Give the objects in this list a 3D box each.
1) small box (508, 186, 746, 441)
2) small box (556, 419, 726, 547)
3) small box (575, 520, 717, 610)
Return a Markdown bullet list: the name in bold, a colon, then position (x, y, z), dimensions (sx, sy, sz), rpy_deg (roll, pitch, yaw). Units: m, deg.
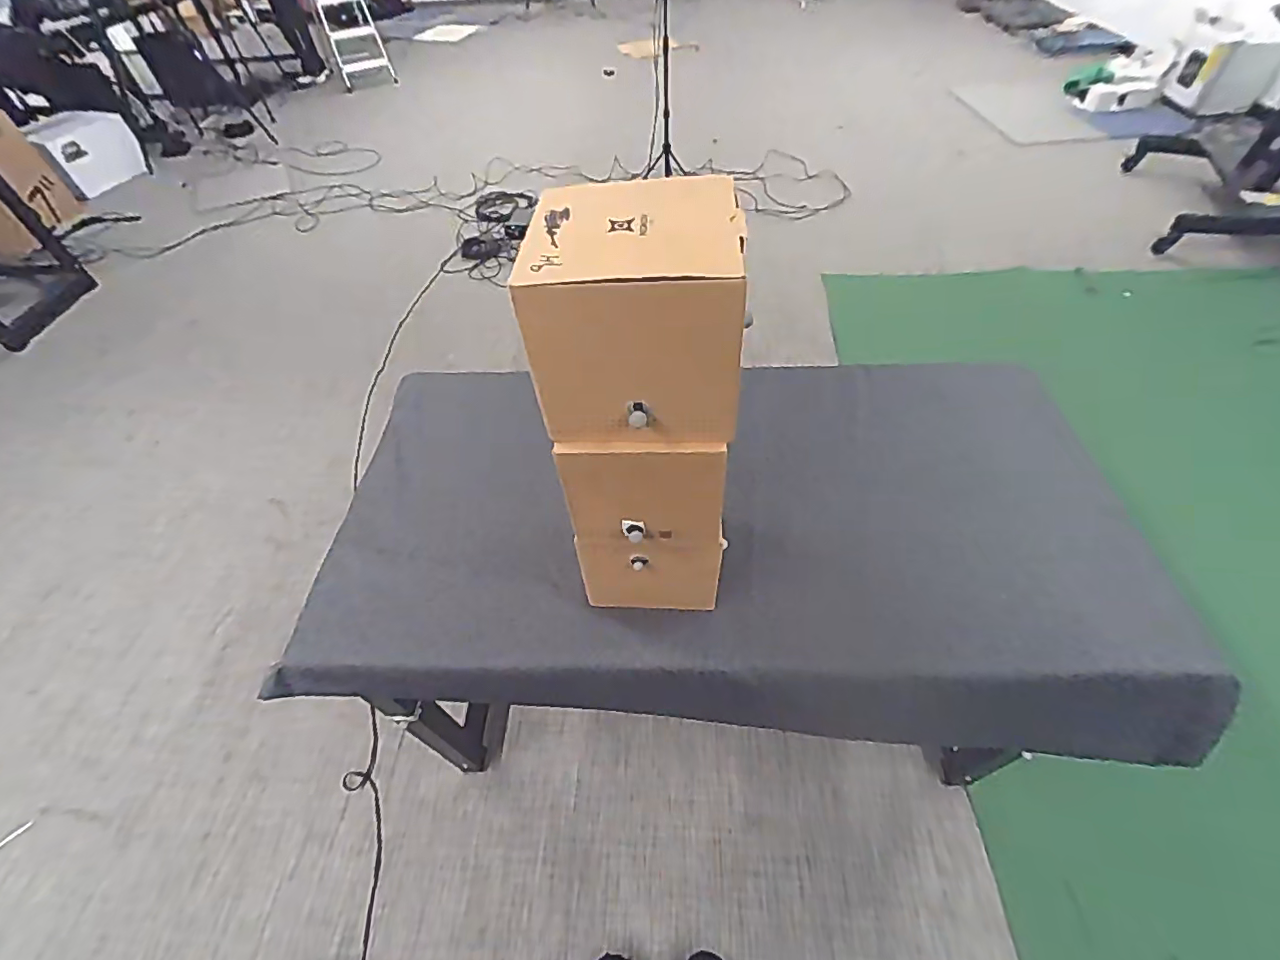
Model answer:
- **small box**: position (-0.003, -0.149, 0.502), dimensions (0.179, 0.176, 0.168), rpy_deg (0, 50, 5)
- **small box**: position (0.008, -0.041, 0.625), dimensions (0.168, 0.176, 0.179), rpy_deg (-1, 51, 5)
- **small box**: position (0.016, 0.072, 0.762), dimensions (0.179, 0.176, 0.168), rpy_deg (1, 51, 4)
